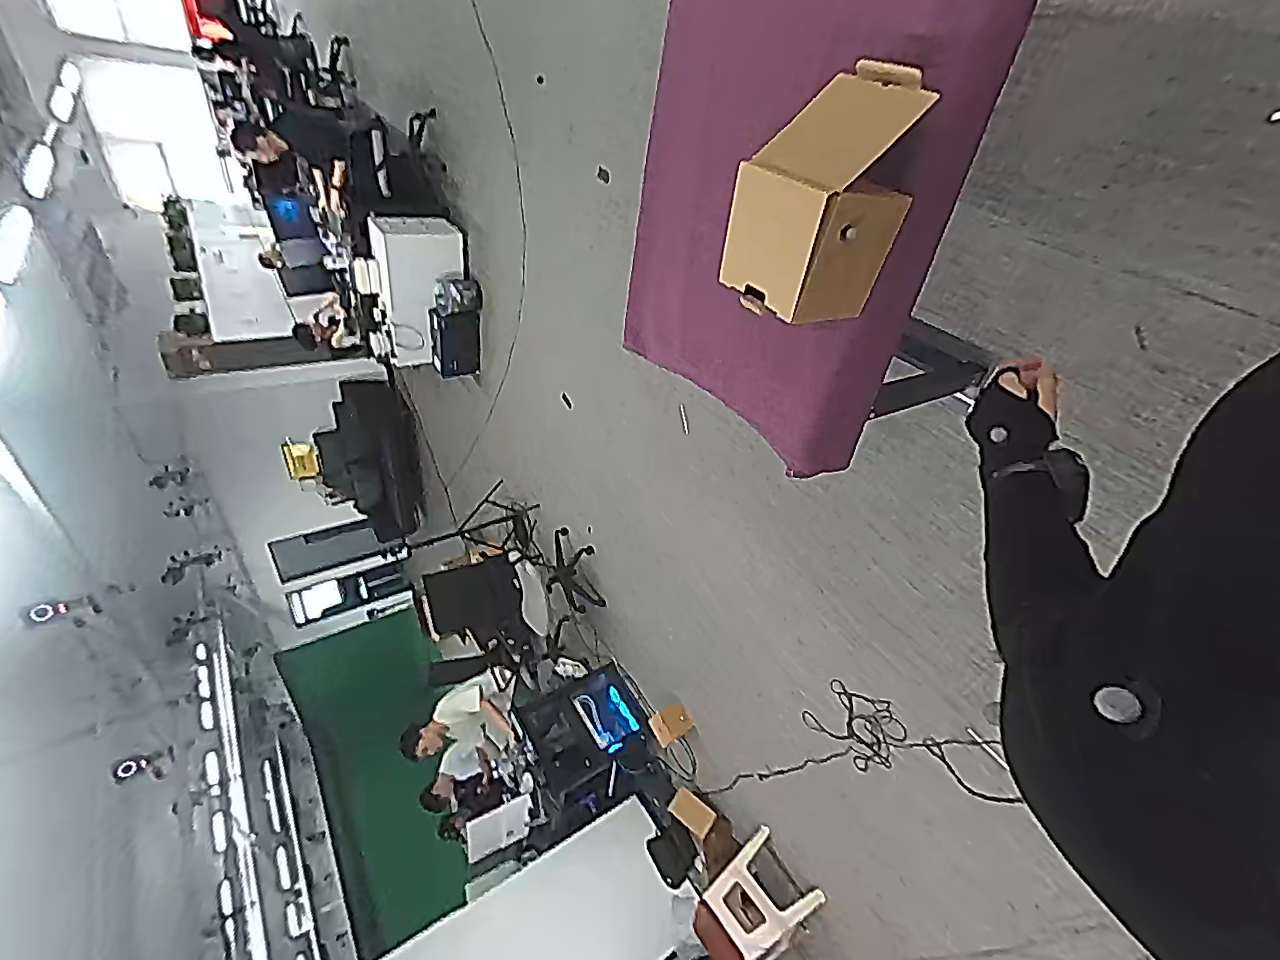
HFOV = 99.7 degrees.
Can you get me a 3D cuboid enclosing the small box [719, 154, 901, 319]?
[{"bbox_3d":[0.252,-0.362,0.806,0.168,0.176,0.179,48,140,36],"label":"small box"}]
